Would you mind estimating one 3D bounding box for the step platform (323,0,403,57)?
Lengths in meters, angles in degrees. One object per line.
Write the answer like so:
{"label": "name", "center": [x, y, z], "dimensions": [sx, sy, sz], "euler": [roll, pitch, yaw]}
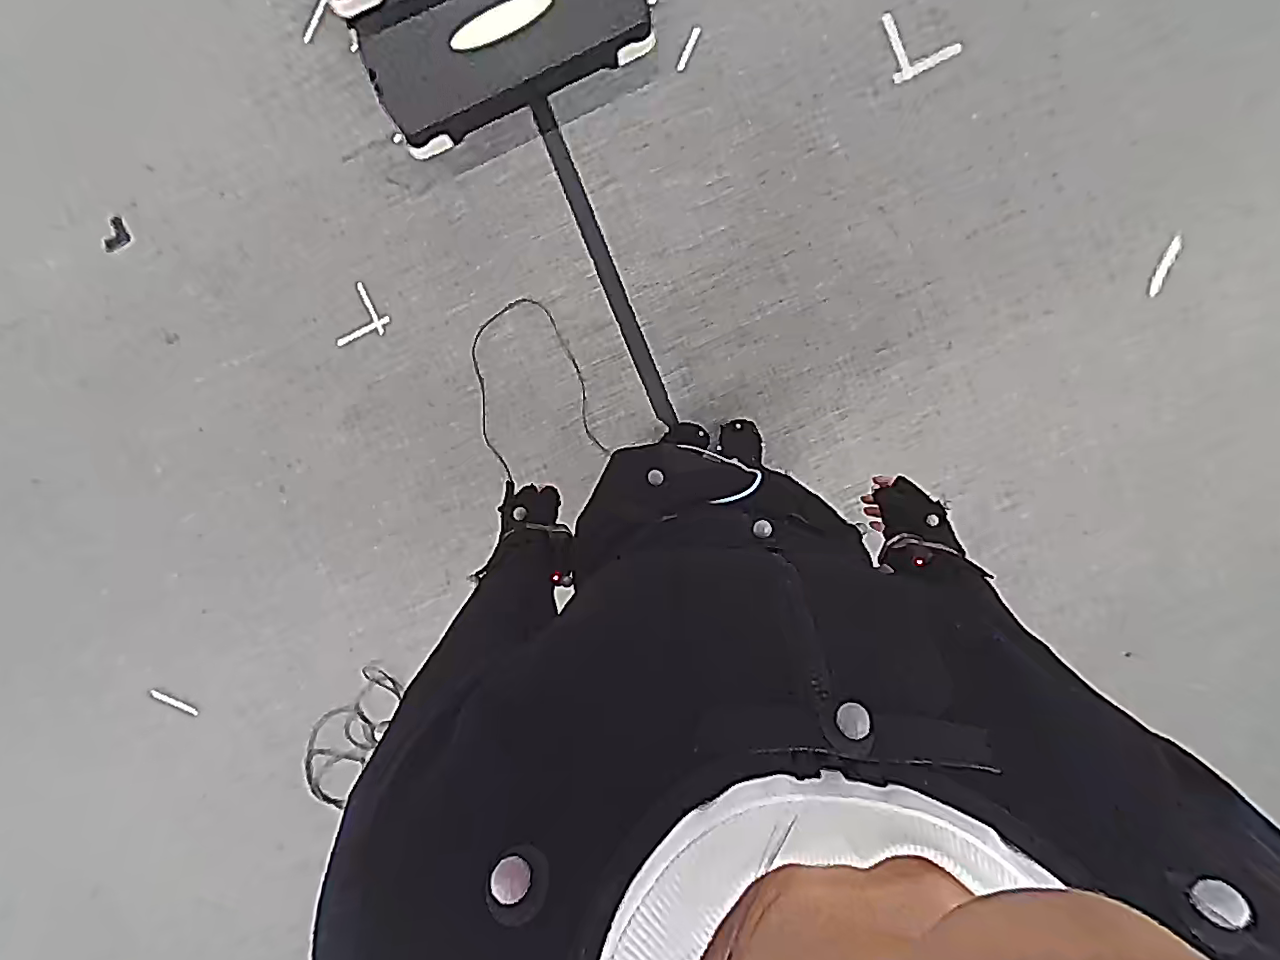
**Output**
{"label": "step platform", "center": [-0.431, -1.270, 1.200], "dimensions": [0.684, 0.204, 0.286], "euler": [-24, 97, 3]}
